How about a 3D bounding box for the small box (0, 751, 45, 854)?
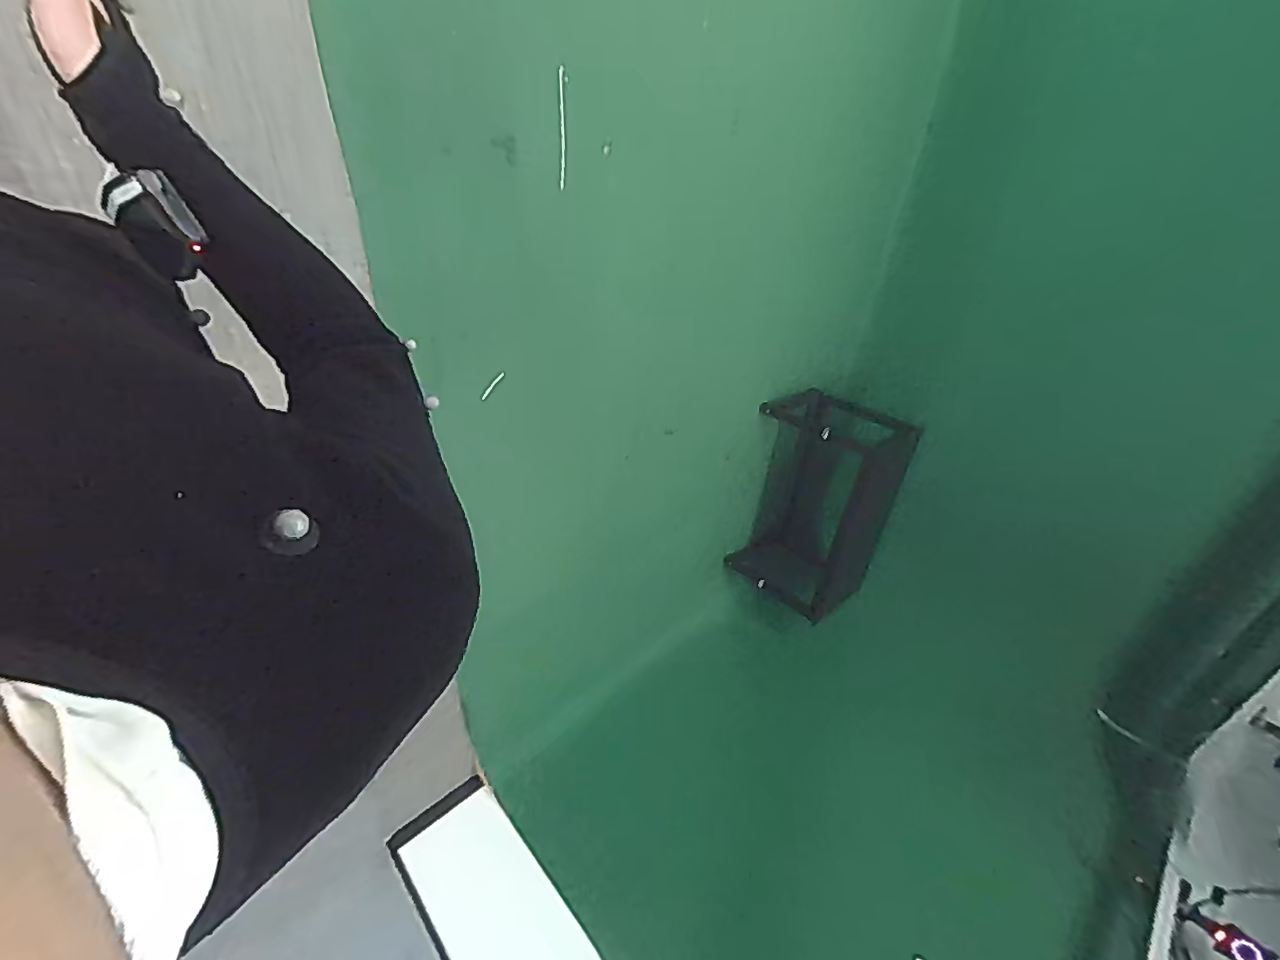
[{"bbox_3d":[-1.182,0.625,0.949,0.168,0.176,0.179,-13,124,-44],"label":"small box"}]
